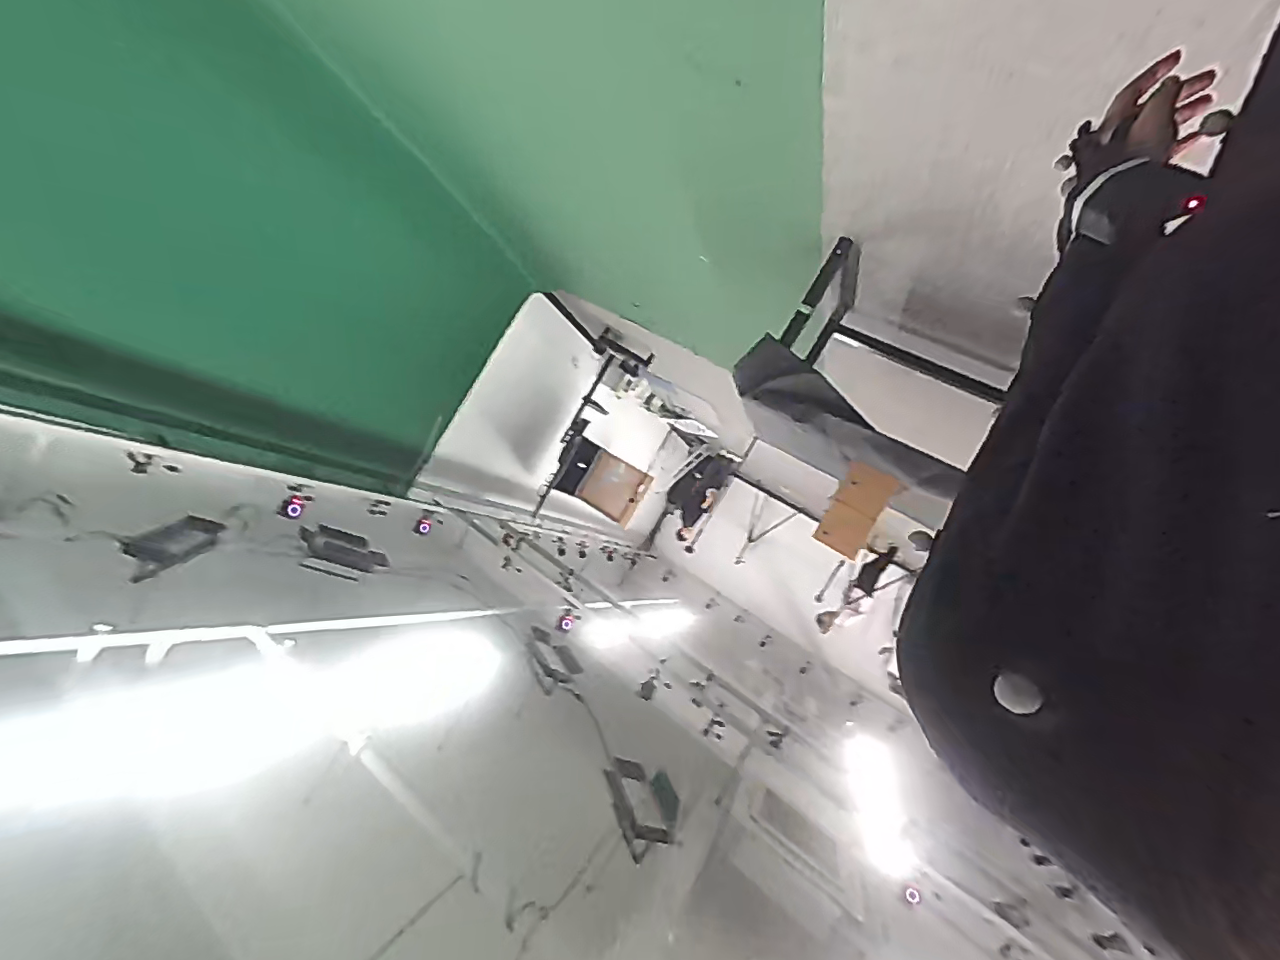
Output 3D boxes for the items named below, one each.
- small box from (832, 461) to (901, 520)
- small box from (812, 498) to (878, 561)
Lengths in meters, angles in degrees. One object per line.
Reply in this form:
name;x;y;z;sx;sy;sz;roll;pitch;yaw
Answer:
small box;0.839;0.041;2.015;0.179;0.176;0.168;31;-179;22
small box;0.762;0.184;2.018;0.179;0.176;0.168;32;-178;20
